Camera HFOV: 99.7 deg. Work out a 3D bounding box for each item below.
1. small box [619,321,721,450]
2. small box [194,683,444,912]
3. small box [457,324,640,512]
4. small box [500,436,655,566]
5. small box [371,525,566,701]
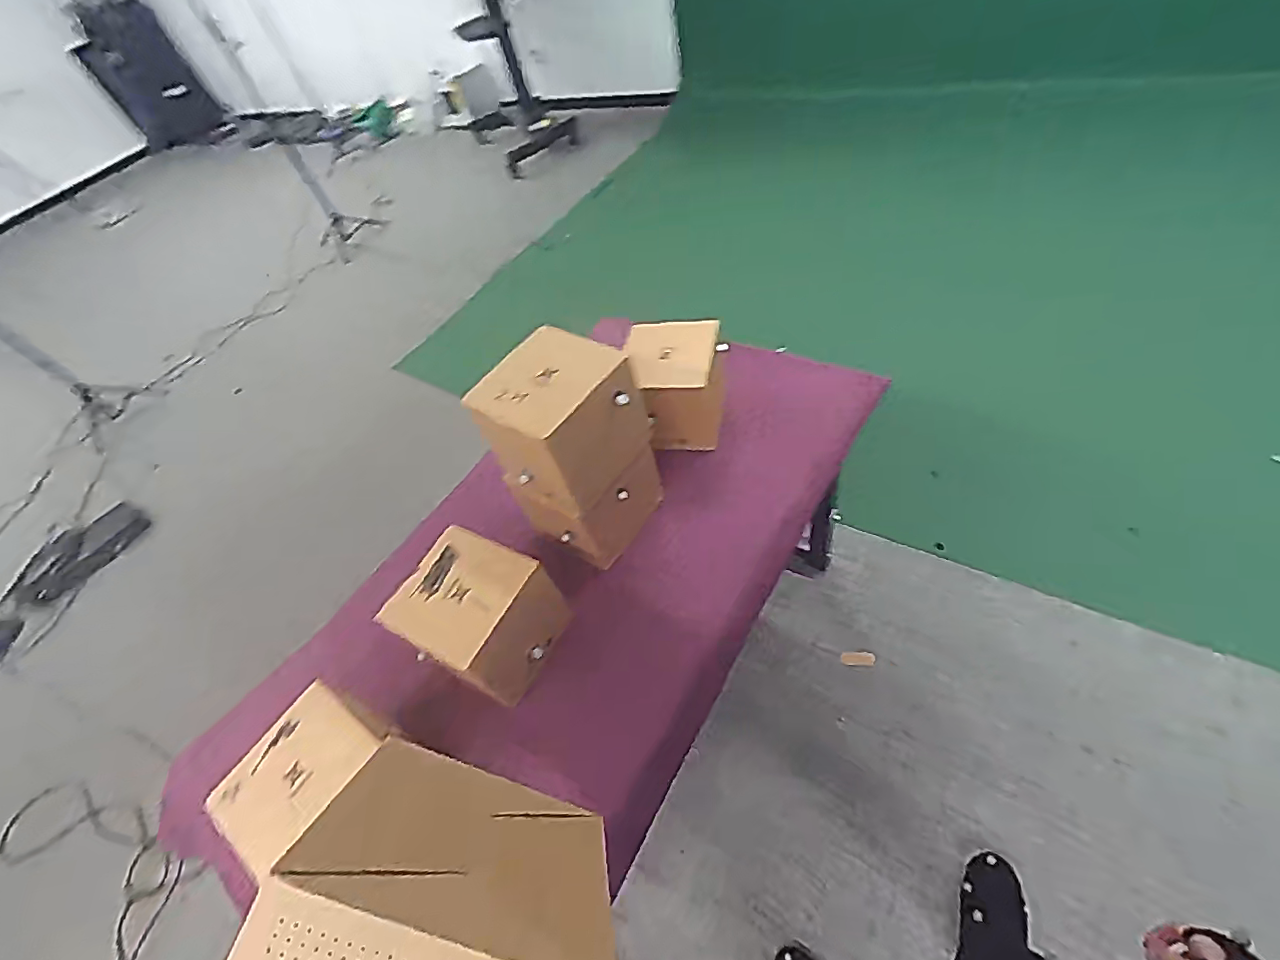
[{"bbox_3d":[0.055,-0.171,1.008,0.168,0.176,0.179,3,53,17],"label":"small box"},{"bbox_3d":[-0.384,0.392,0.676,0.179,0.176,0.168,23,61,28],"label":"small box"},{"bbox_3d":[-0.116,-0.088,0.773,0.168,0.176,0.179,26,63,30],"label":"small box"},{"bbox_3d":[-0.092,0.013,0.901,0.168,0.176,0.179,25,62,30],"label":"small box"},{"bbox_3d":[-0.239,0.197,0.792,0.179,0.176,0.168,18,59,26],"label":"small box"}]
